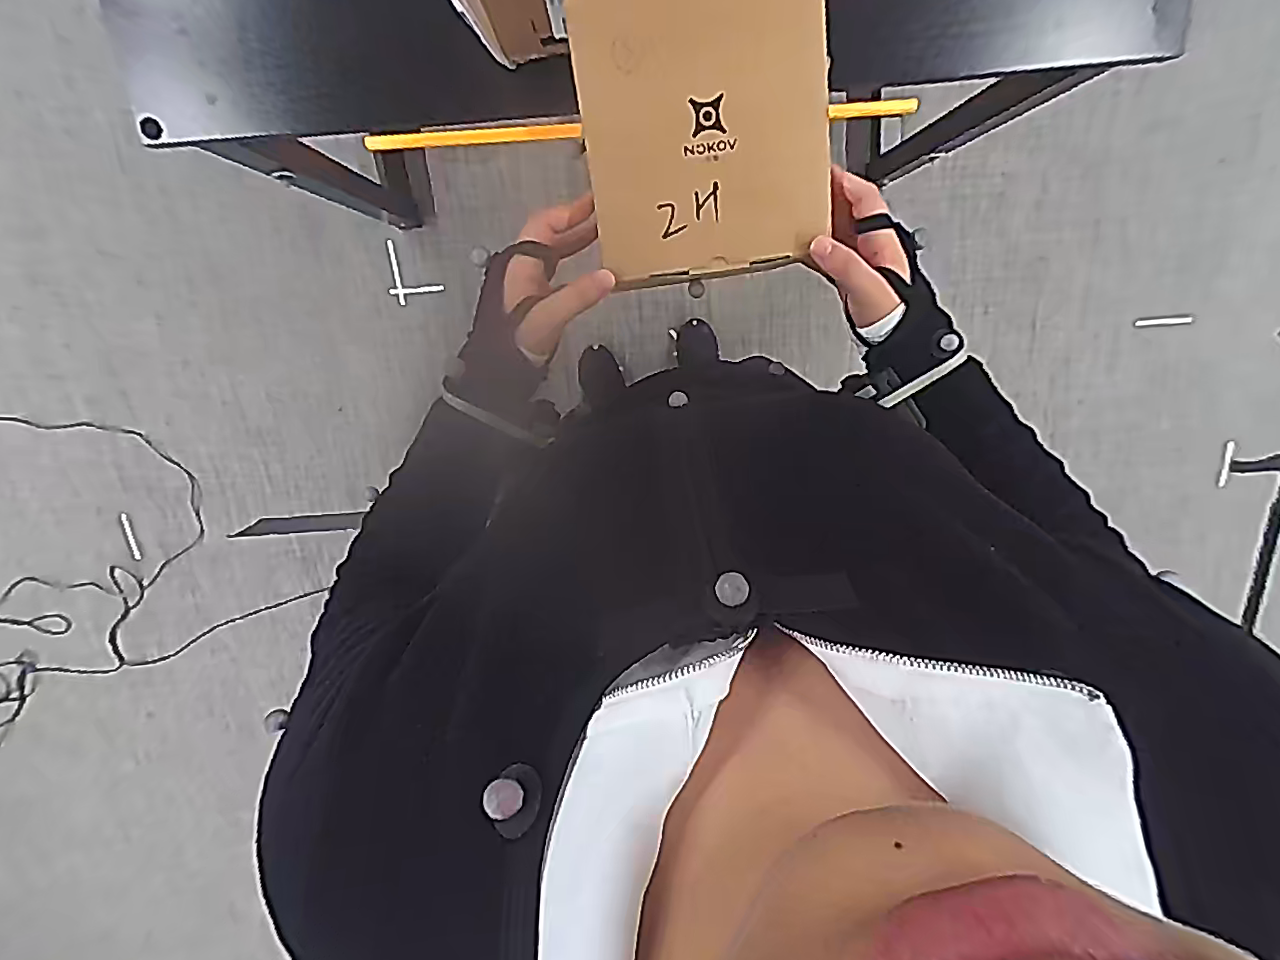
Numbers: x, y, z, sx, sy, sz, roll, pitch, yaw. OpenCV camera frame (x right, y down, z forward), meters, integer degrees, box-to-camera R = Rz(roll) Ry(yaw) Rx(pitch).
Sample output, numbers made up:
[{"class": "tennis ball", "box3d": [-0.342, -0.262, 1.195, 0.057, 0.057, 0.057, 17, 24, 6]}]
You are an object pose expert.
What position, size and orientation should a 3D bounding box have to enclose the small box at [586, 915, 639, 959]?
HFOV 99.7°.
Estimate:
[{"class": "small box", "box3d": [-0.090, 1.599, 1.807, 0.168, 0.176, 0.179, -7, 107, 0]}]
